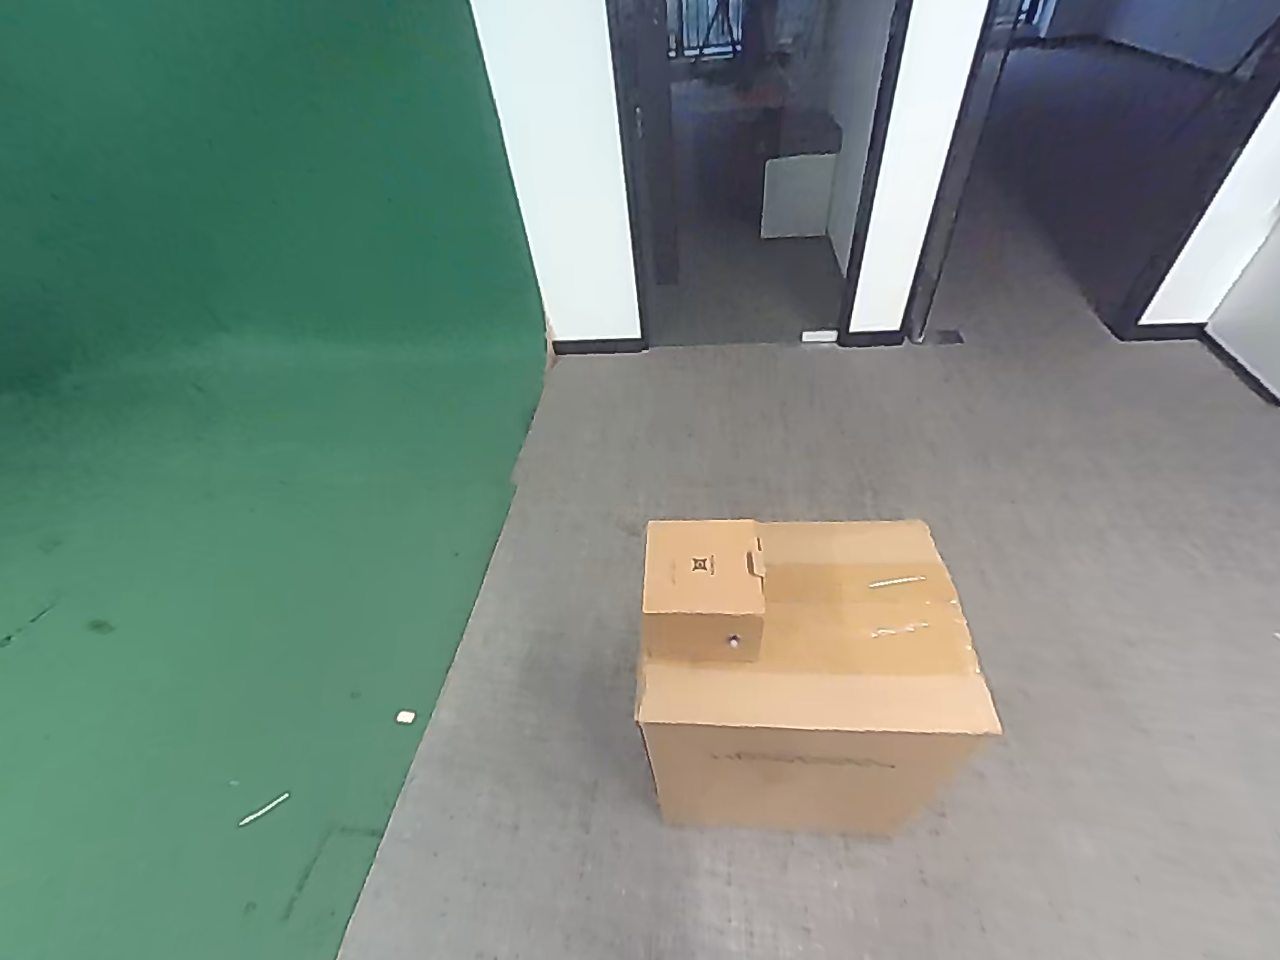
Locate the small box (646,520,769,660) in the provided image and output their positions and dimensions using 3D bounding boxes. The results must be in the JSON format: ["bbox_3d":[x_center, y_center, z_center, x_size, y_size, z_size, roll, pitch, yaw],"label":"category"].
[{"bbox_3d":[0.107,0.180,0.876,0.179,0.176,0.168,-2,48,7],"label":"small box"}]
